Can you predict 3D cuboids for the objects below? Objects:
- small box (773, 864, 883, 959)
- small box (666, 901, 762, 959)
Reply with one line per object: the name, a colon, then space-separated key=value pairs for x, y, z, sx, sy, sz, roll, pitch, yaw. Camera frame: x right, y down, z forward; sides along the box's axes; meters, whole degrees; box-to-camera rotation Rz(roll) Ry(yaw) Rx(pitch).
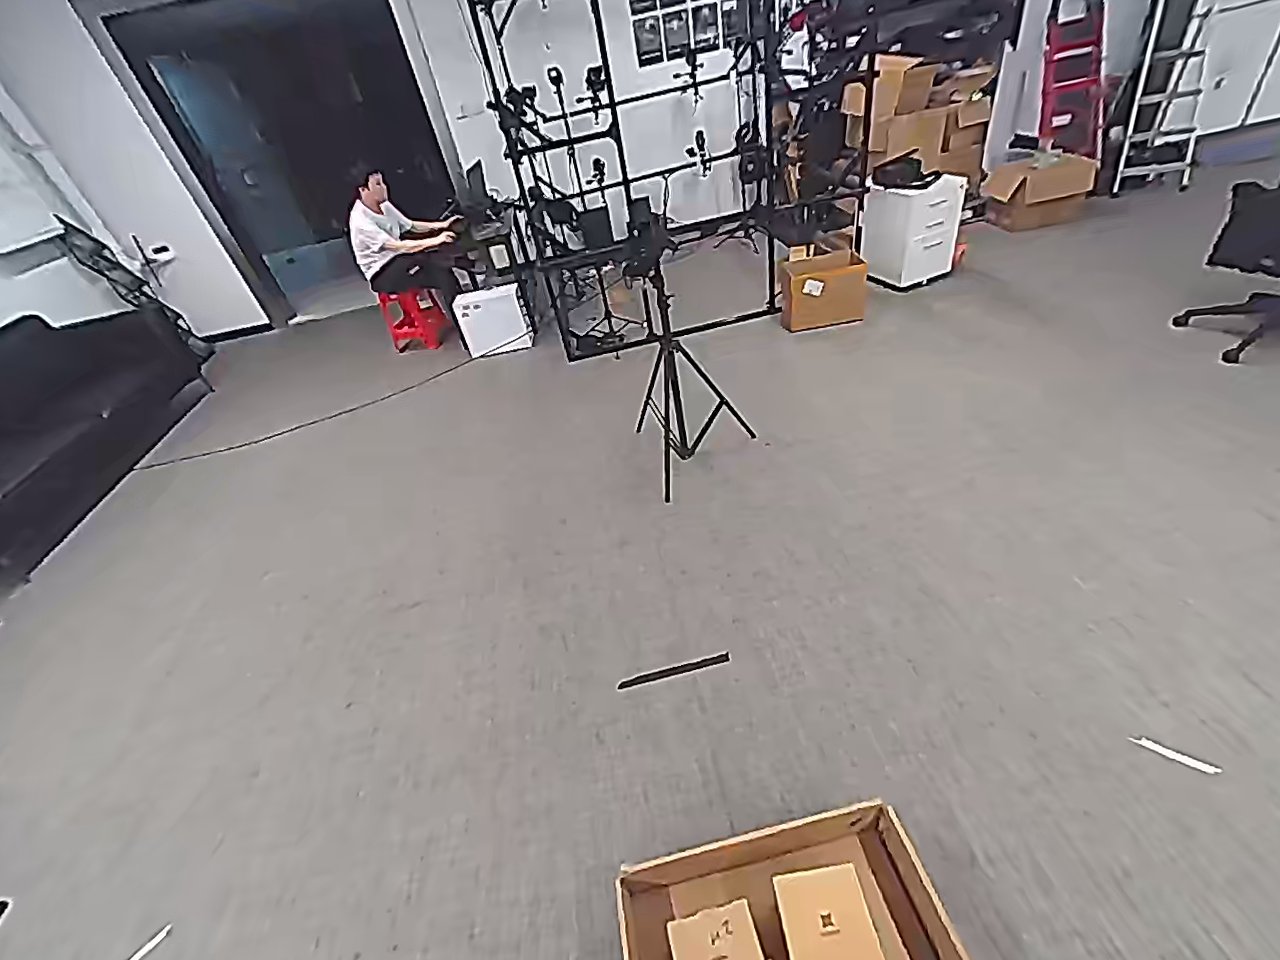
small box: x=0.365 y=0.898 z=1.067 sx=0.168 sy=0.176 sz=0.179 roll=-11 pitch=38 yaw=3
small box: x=0.157 y=0.960 z=1.043 sx=0.168 sy=0.176 sz=0.179 roll=-14 pitch=38 yaw=-4
